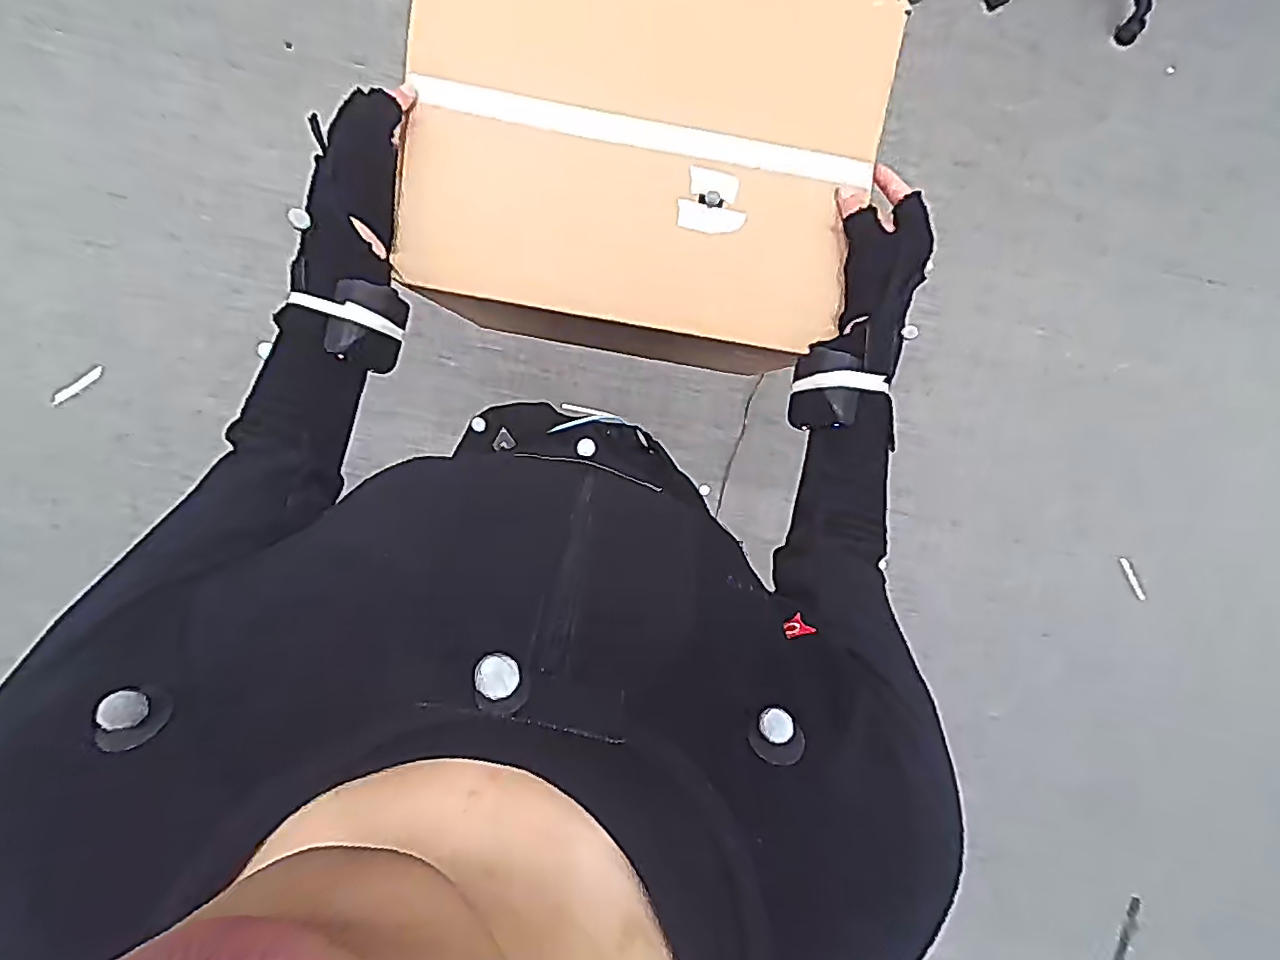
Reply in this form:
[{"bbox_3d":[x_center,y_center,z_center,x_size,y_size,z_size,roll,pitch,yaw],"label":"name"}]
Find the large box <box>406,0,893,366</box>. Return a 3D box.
[{"bbox_3d":[-0.003,-0.324,0.627,0.408,0.320,0.320,9,99,-4],"label":"large box"}]
